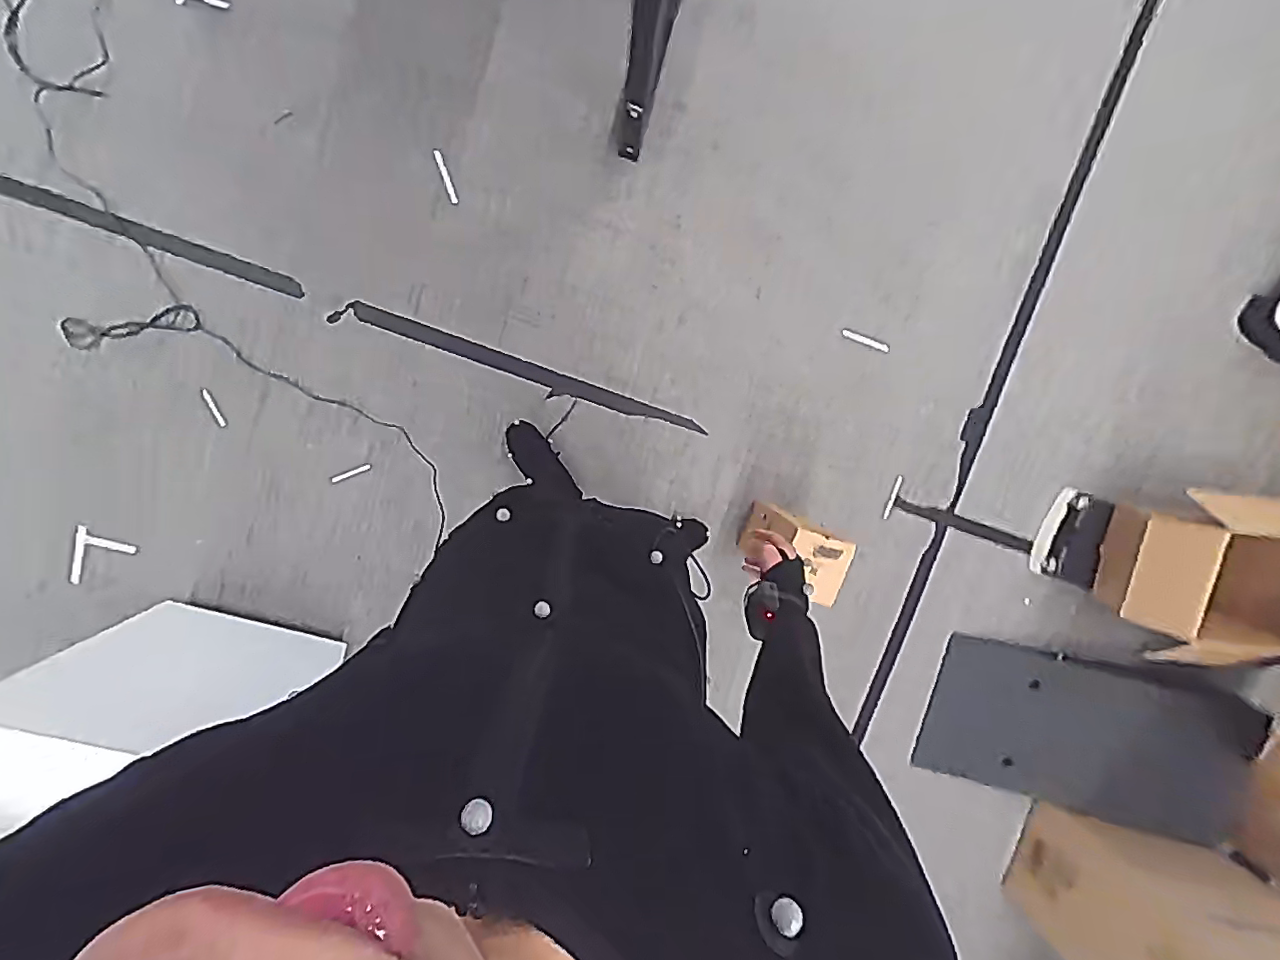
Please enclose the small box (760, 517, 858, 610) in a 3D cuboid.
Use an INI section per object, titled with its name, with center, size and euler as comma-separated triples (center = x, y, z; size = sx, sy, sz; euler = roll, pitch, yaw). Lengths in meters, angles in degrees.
[small box]
center = 0.438, 0.212, 1.431
size = 0.168, 0.176, 0.179
euler = 18, 99, -7
